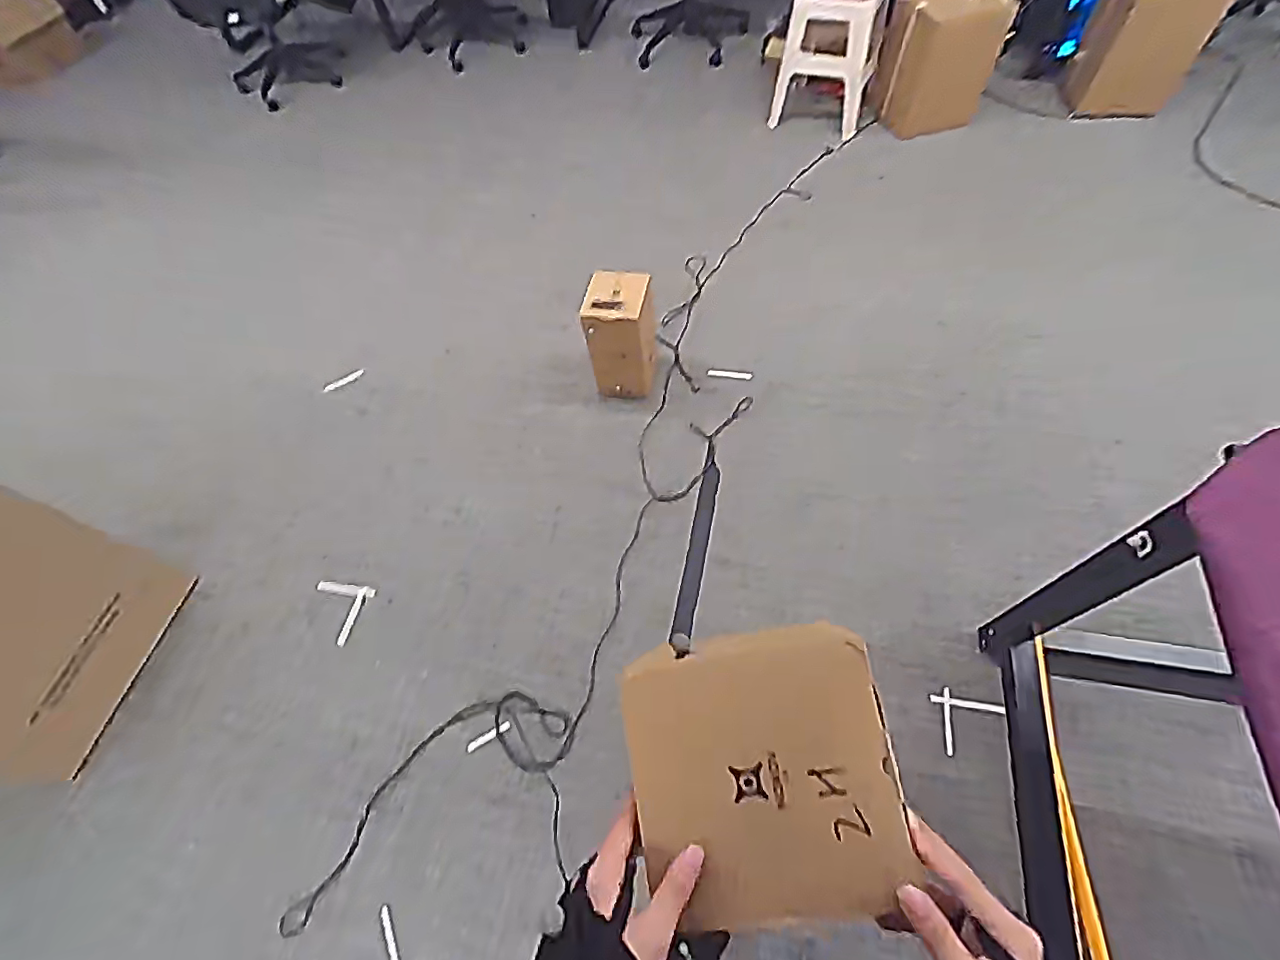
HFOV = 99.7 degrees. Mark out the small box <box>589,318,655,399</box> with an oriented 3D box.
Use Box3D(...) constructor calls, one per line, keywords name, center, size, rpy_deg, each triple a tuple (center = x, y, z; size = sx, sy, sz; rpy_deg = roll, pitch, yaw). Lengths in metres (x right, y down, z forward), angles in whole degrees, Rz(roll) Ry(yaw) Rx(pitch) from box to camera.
Box3D(name="small box", center=(-0.049, -0.379, 1.689), size=(0.168, 0.176, 0.179), rpy_deg=(7, 61, 10))
